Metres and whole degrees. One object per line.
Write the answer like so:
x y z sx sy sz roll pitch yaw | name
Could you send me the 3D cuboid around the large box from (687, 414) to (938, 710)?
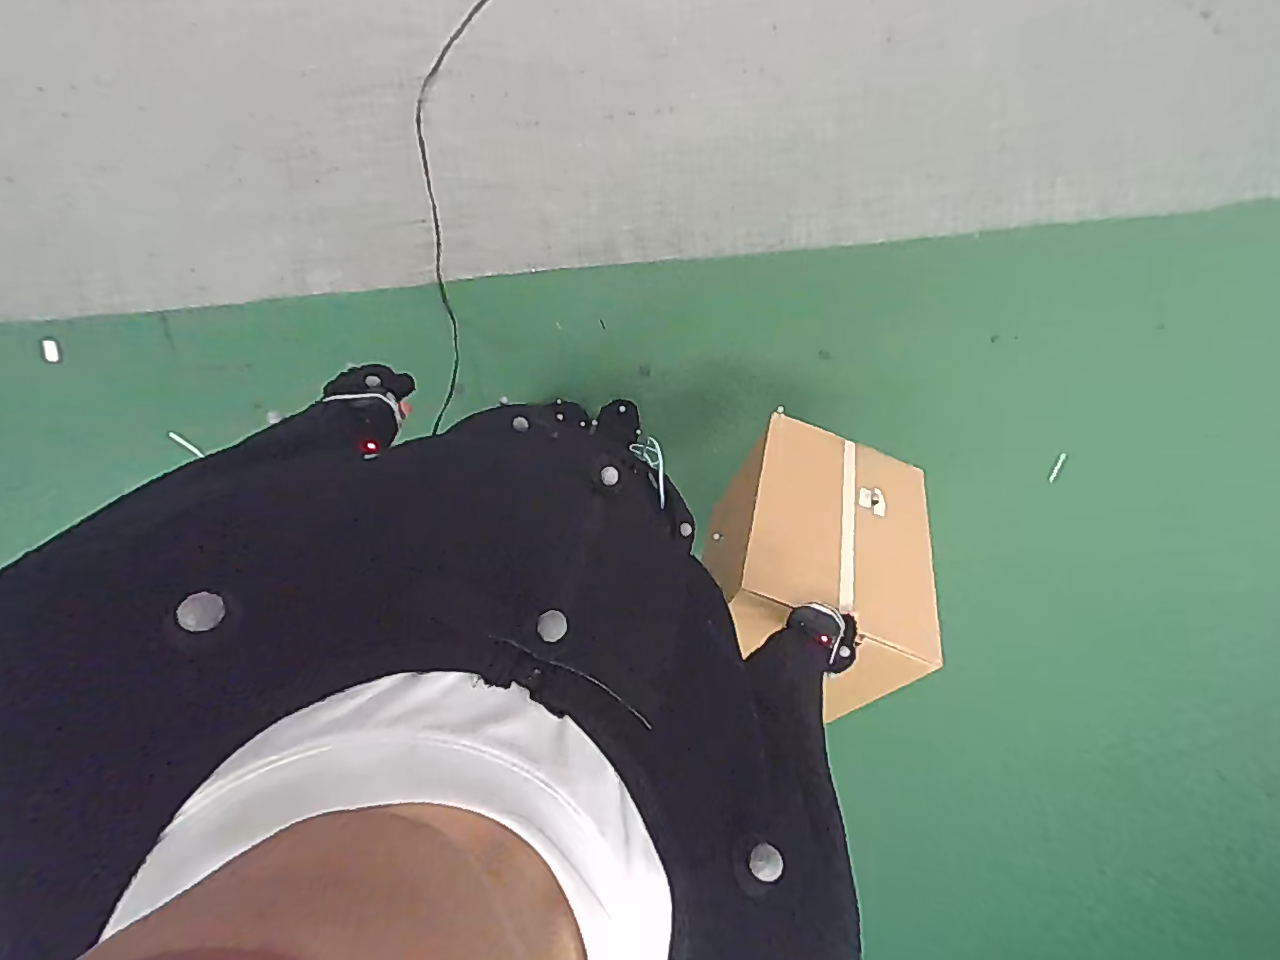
0.307 0.155 1.029 0.320 0.408 0.320 22 138 -1 | large box
